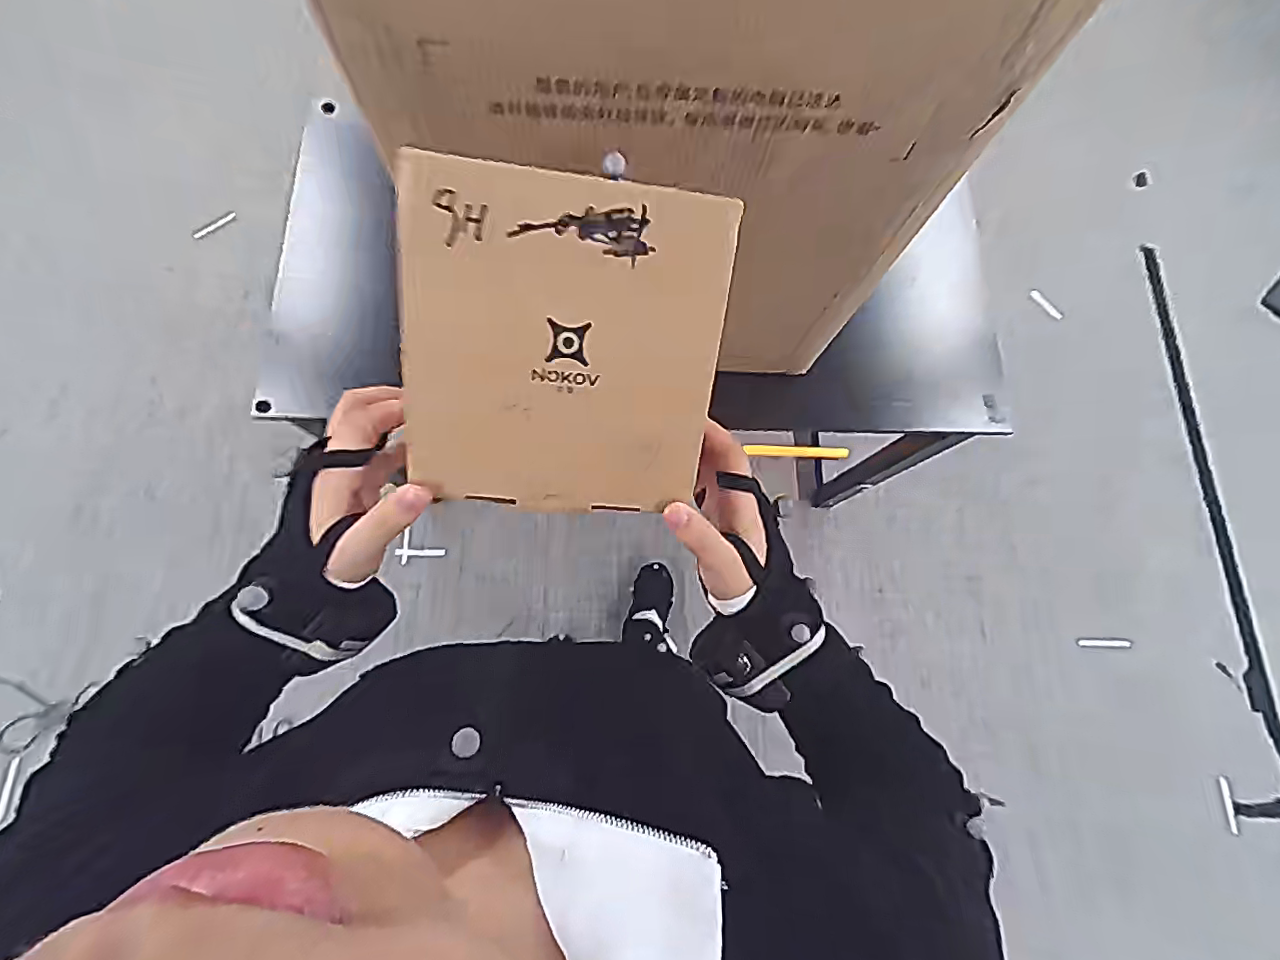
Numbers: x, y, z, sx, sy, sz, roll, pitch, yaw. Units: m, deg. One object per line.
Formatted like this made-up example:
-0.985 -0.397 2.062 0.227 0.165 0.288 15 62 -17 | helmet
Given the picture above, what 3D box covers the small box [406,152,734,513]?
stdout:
-0.050 -0.096 0.370 0.168 0.176 0.179 5 110 -9 | small box
